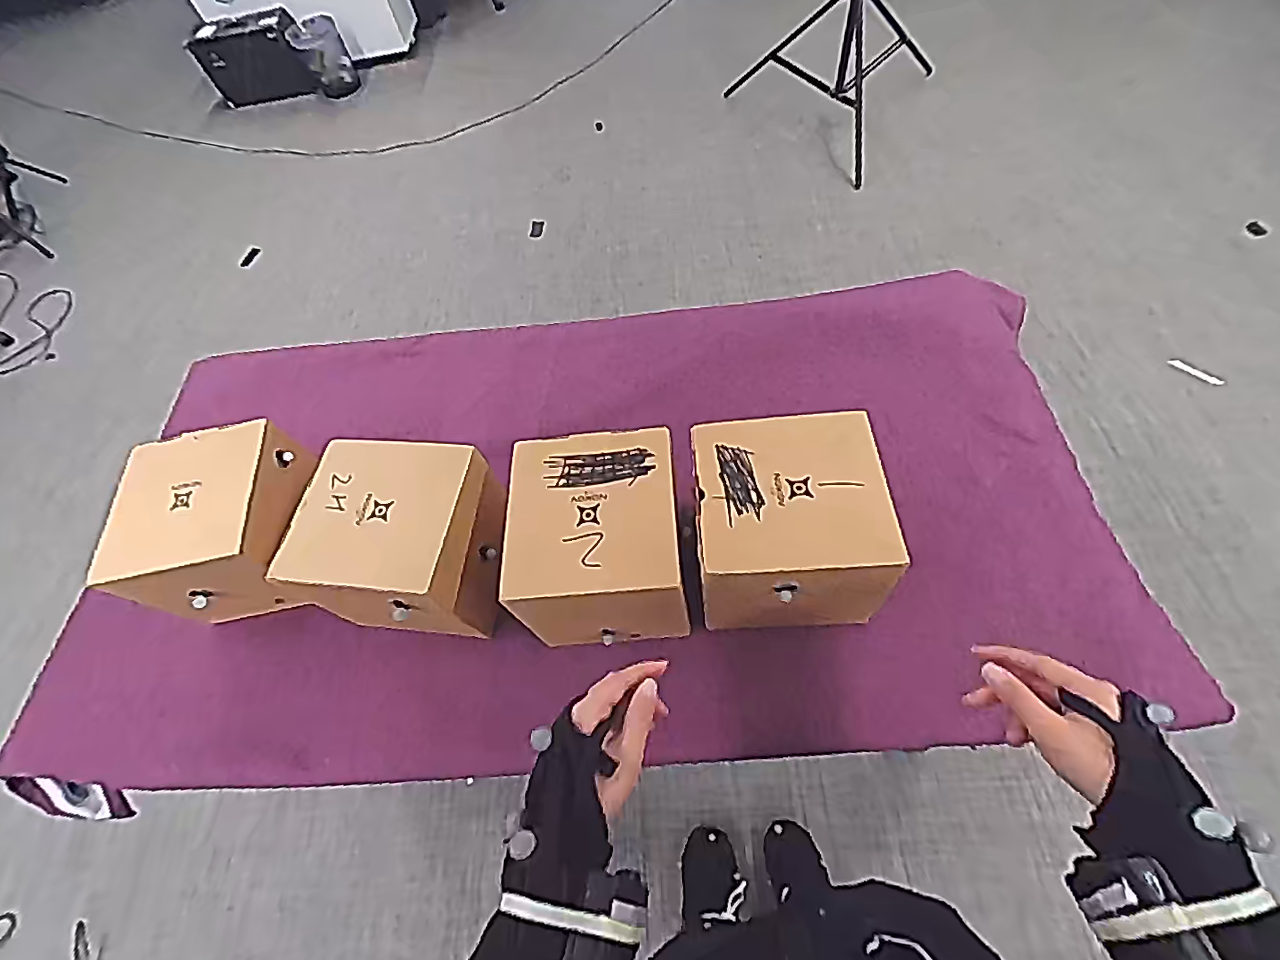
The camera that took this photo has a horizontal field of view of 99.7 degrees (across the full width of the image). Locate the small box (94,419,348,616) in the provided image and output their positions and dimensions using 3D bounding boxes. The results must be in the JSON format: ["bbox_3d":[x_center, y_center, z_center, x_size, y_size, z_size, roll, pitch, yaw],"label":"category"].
[{"bbox_3d":[-0.488,0.057,0.664,0.168,0.176,0.179,-13,60,1],"label":"small box"}]
